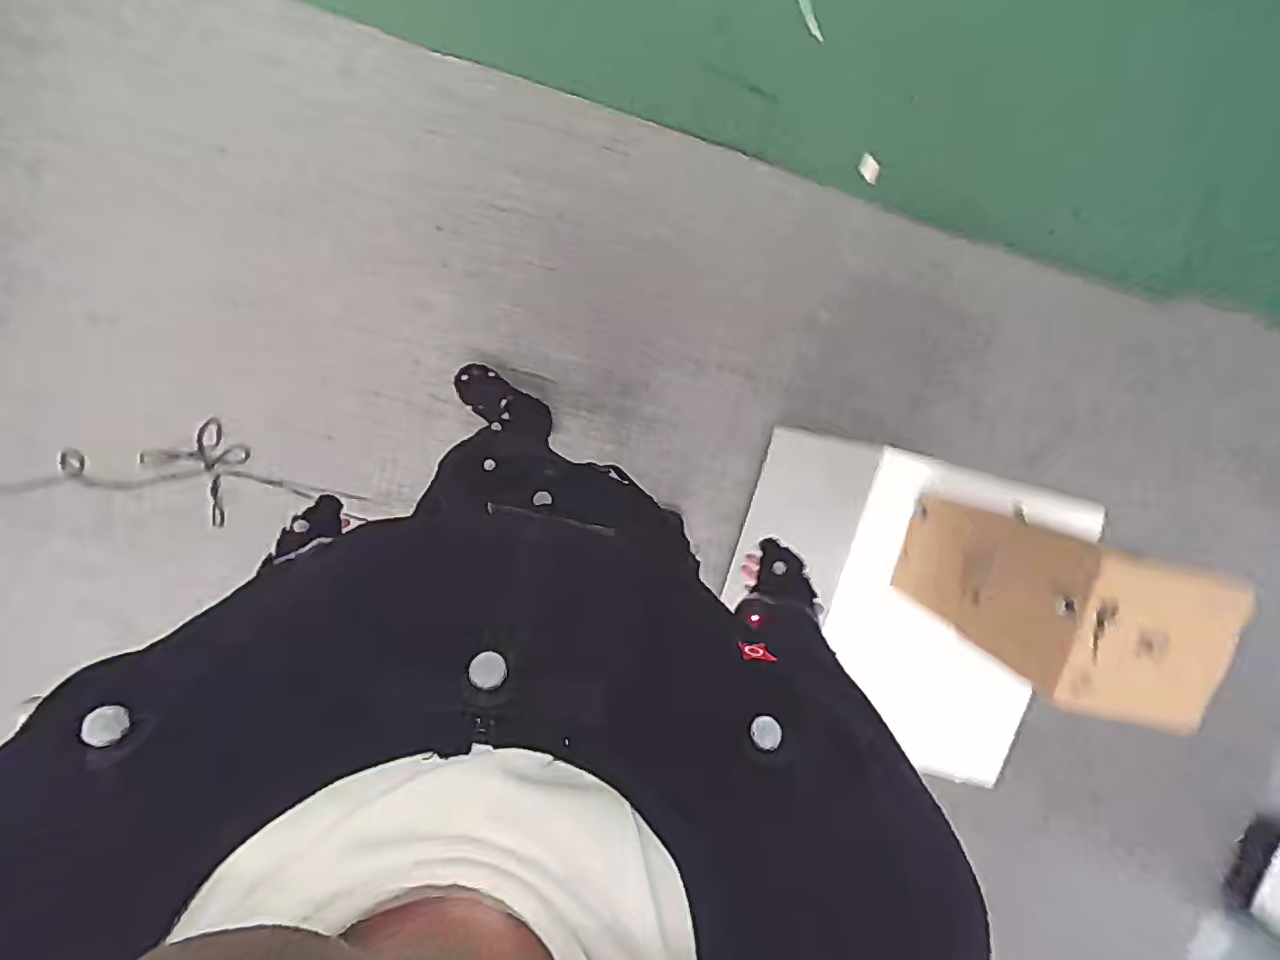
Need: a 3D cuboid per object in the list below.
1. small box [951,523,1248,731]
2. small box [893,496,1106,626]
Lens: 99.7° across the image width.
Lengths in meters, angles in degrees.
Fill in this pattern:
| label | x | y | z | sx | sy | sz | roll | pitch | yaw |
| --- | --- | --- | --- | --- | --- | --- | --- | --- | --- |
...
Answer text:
| label | x | y | z | sx | sy | sz | roll | pitch | yaw |
| --- | --- | --- | --- | --- | --- | --- | --- | --- | --- |
| small box | 0.520 | 0.160 | 0.640 | 0.179 | 0.176 | 0.168 | 13 | 99 | -6 |
| small box | 0.511 | 0.128 | 0.799 | 0.179 | 0.176 | 0.168 | 13 | 99 | -6 |
